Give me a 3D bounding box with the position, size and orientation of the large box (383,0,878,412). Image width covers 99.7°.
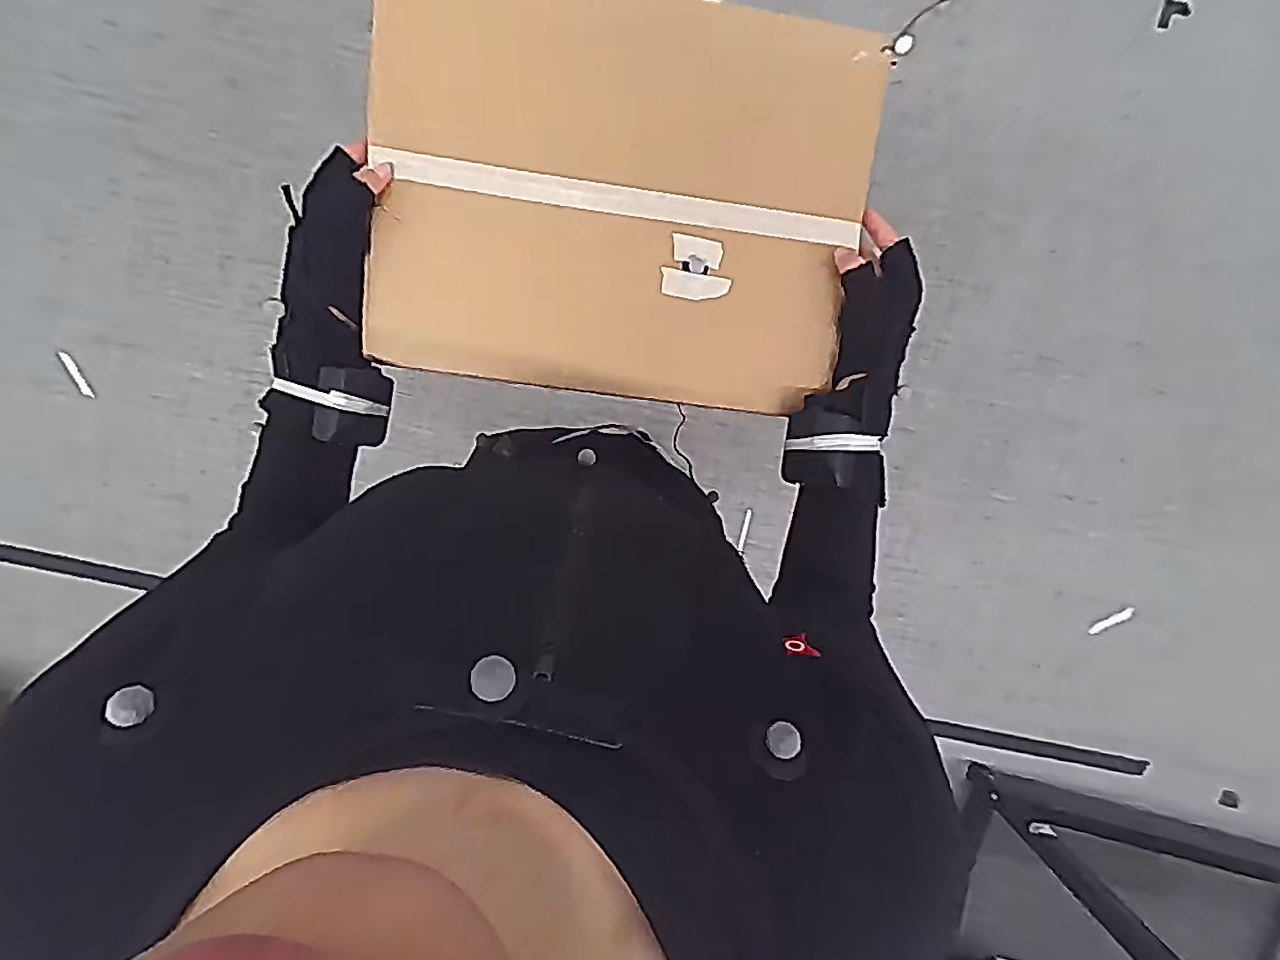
[{"bbox_3d":[-0.025,-0.257,0.606,0.408,0.320,0.320,6,101,-6],"label":"large box"}]
